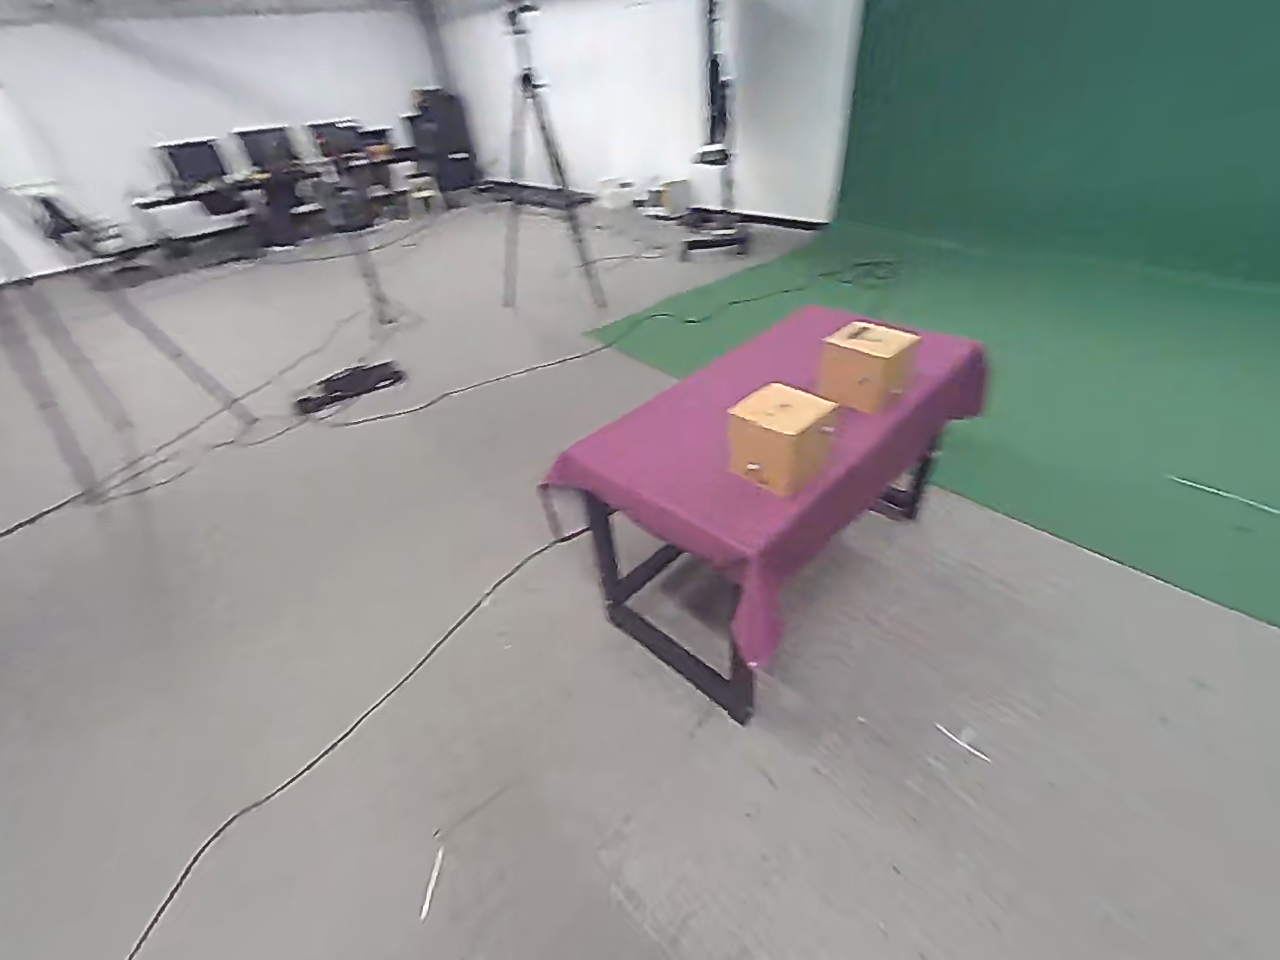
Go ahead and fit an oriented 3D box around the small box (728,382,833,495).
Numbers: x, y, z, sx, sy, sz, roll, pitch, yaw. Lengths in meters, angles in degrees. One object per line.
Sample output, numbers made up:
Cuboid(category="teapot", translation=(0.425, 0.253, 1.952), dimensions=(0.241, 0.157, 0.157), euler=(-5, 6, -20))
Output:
Cuboid(category="small box", translation=(0.315, -0.097, 1.241), dimensions=(0.179, 0.176, 0.168), euler=(-33, 44, -30))
